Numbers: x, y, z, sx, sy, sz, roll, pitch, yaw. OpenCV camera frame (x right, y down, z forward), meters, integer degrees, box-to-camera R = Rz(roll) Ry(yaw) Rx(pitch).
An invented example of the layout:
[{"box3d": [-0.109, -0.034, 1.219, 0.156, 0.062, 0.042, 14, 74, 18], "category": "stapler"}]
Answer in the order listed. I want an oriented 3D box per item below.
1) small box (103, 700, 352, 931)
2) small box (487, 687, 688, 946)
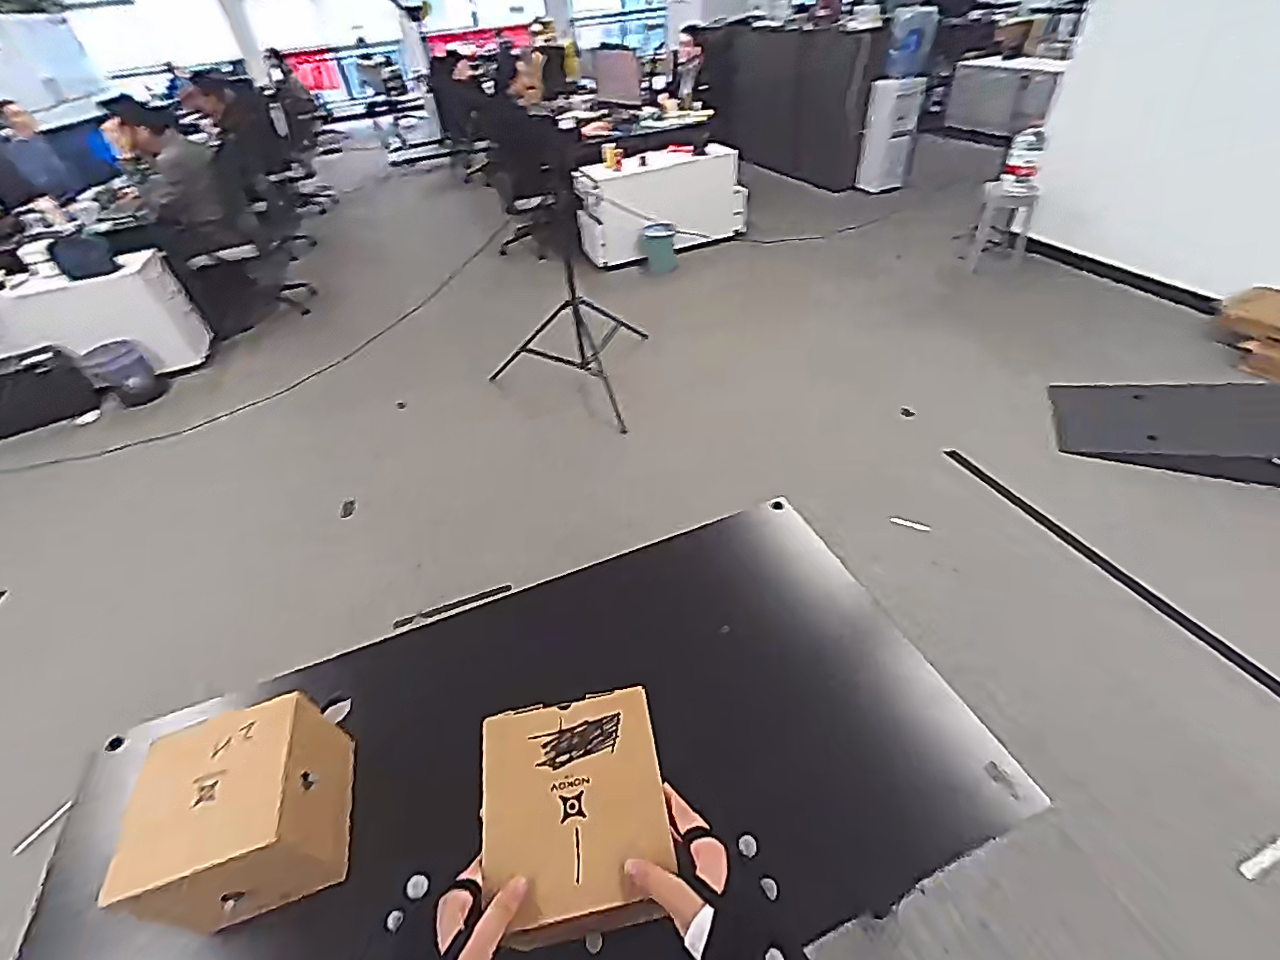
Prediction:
[{"box3d": [-0.471, 0.409, 0.657, 0.168, 0.176, 0.179, -16, 42, -11], "category": "small box"}, {"box3d": [-0.051, 0.342, 0.551, 0.168, 0.176, 0.179, -10, 47, -4], "category": "small box"}]
